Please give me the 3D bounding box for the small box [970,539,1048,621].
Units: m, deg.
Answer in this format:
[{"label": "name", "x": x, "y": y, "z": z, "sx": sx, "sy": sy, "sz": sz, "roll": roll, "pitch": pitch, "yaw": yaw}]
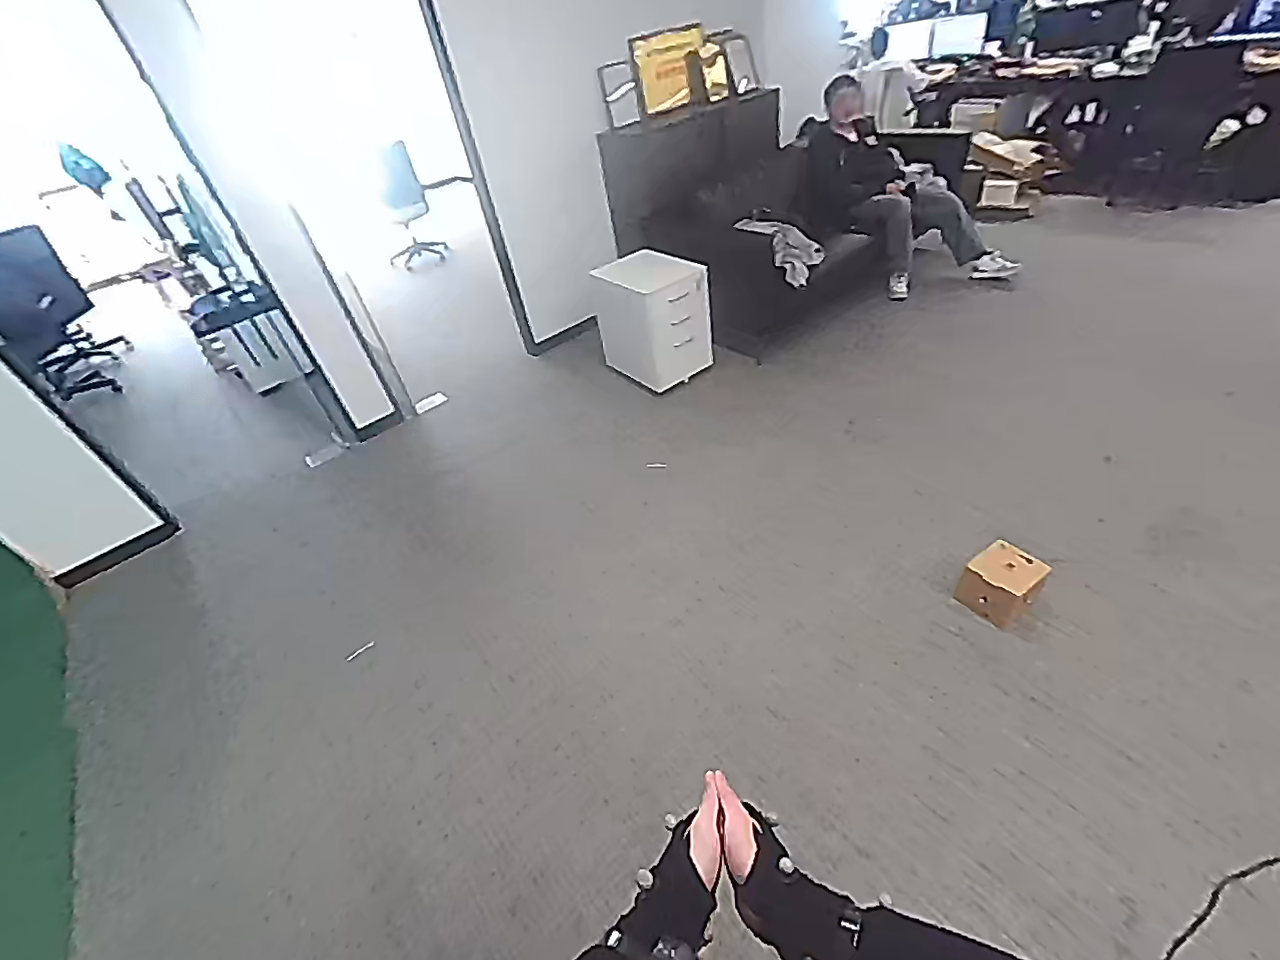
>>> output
[{"label": "small box", "x": 1.150, "y": 0.315, "z": 1.692, "sx": 0.179, "sy": 0.176, "sz": 0.168, "roll": 11, "pitch": 43, "yaw": 27}]
